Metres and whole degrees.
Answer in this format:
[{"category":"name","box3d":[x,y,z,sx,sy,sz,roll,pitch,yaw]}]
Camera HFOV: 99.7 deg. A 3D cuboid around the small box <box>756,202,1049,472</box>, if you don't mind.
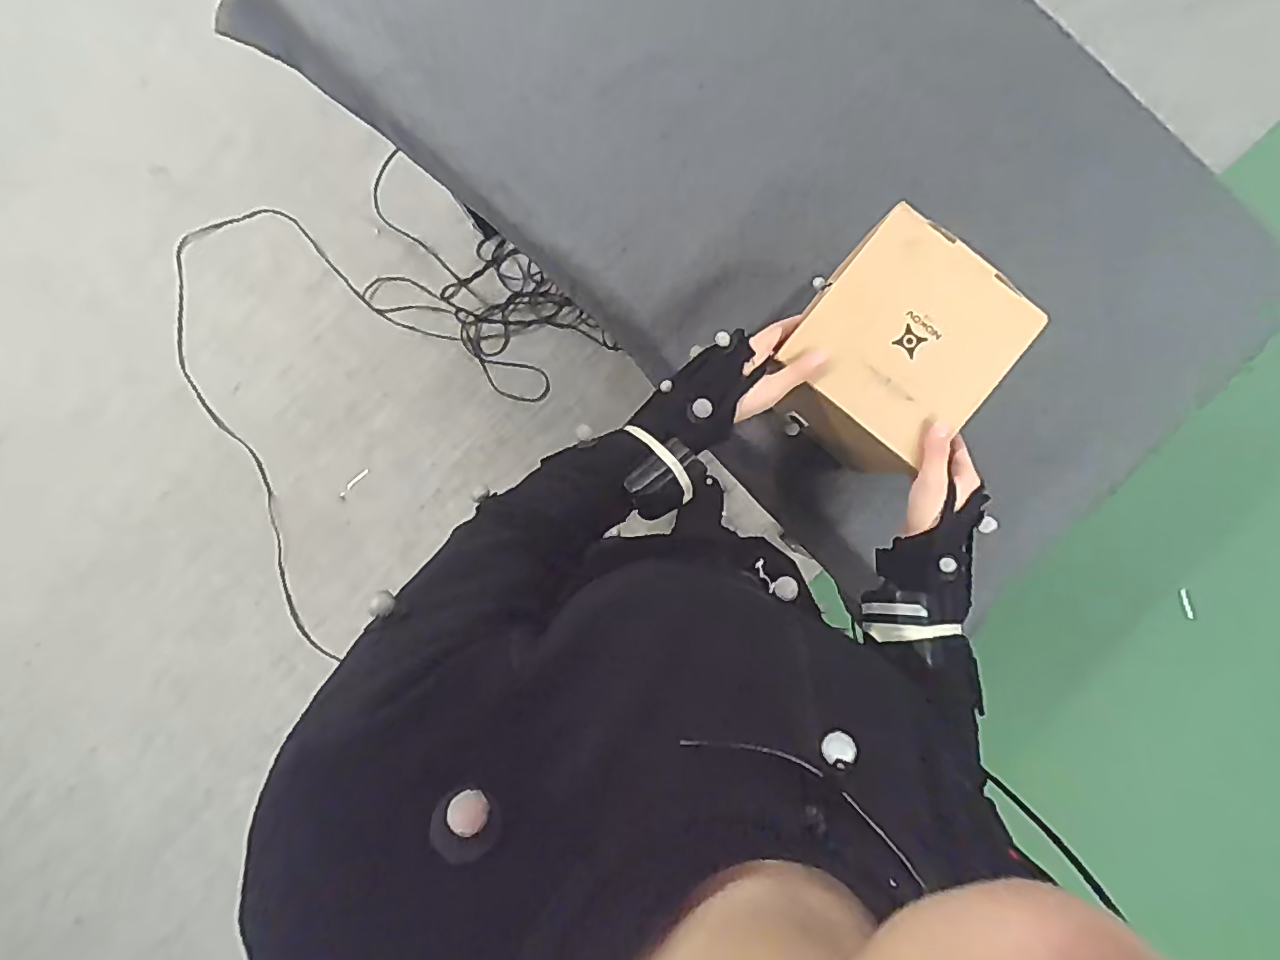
[{"category":"small box","box3d":[0.238,-0.125,0.545,0.168,0.176,0.179,38,92,1]}]
